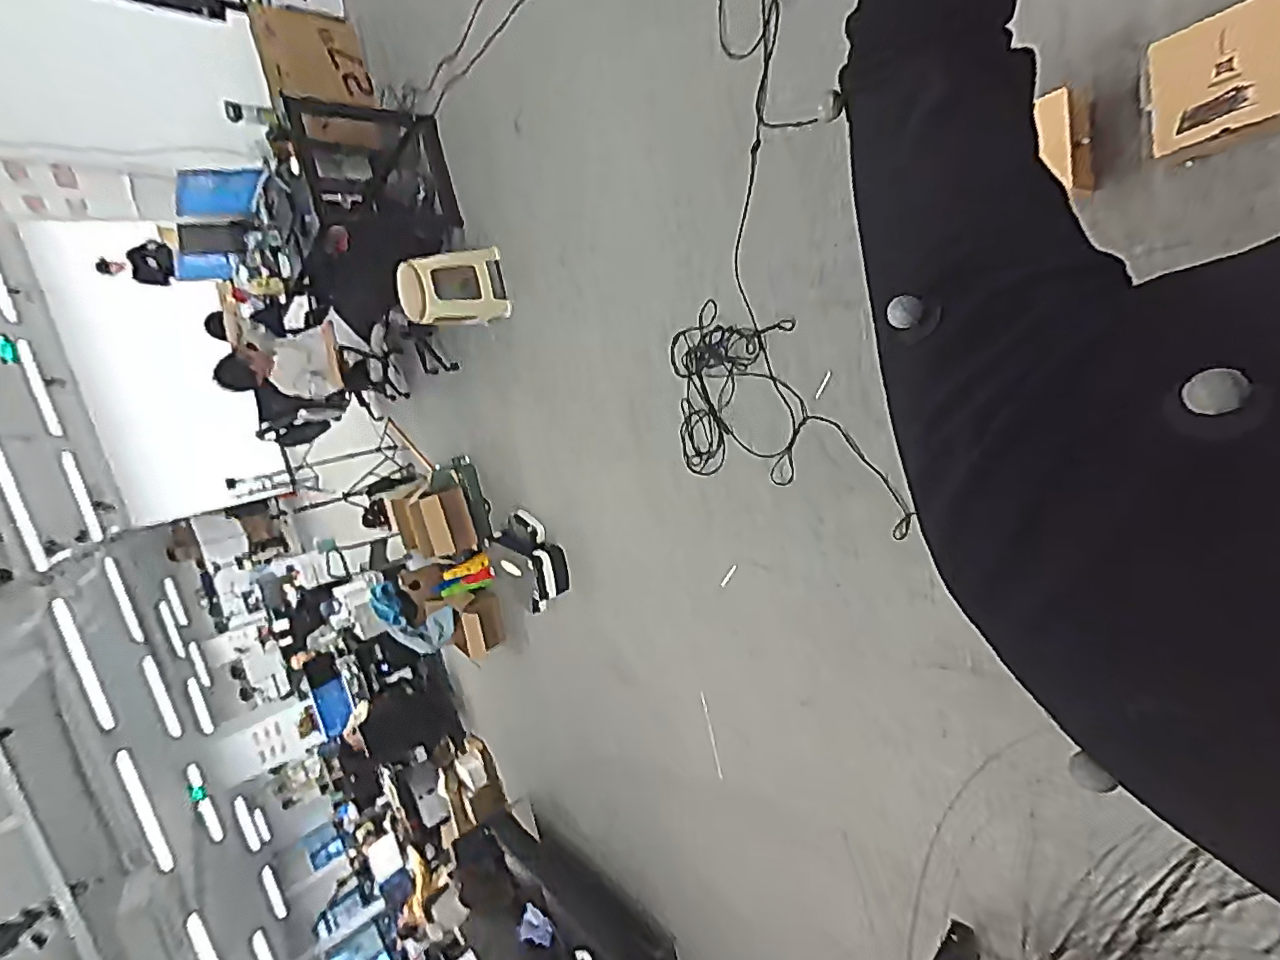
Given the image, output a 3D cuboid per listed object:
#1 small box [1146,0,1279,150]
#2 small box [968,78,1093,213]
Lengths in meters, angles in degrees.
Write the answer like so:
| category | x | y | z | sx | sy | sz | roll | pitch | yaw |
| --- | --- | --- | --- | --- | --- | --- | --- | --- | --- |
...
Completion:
| category | x | y | z | sx | sy | sz | roll | pitch | yaw |
| --- | --- | --- | --- | --- | --- | --- | --- | --- | --- |
| small box | 0.951 | -0.662 | 0.877 | 0.168 | 0.176 | 0.179 | -1 | 104 | 51 |
| small box | 0.785 | -0.656 | 1.086 | 0.168 | 0.176 | 0.179 | 0 | 106 | 51 |
